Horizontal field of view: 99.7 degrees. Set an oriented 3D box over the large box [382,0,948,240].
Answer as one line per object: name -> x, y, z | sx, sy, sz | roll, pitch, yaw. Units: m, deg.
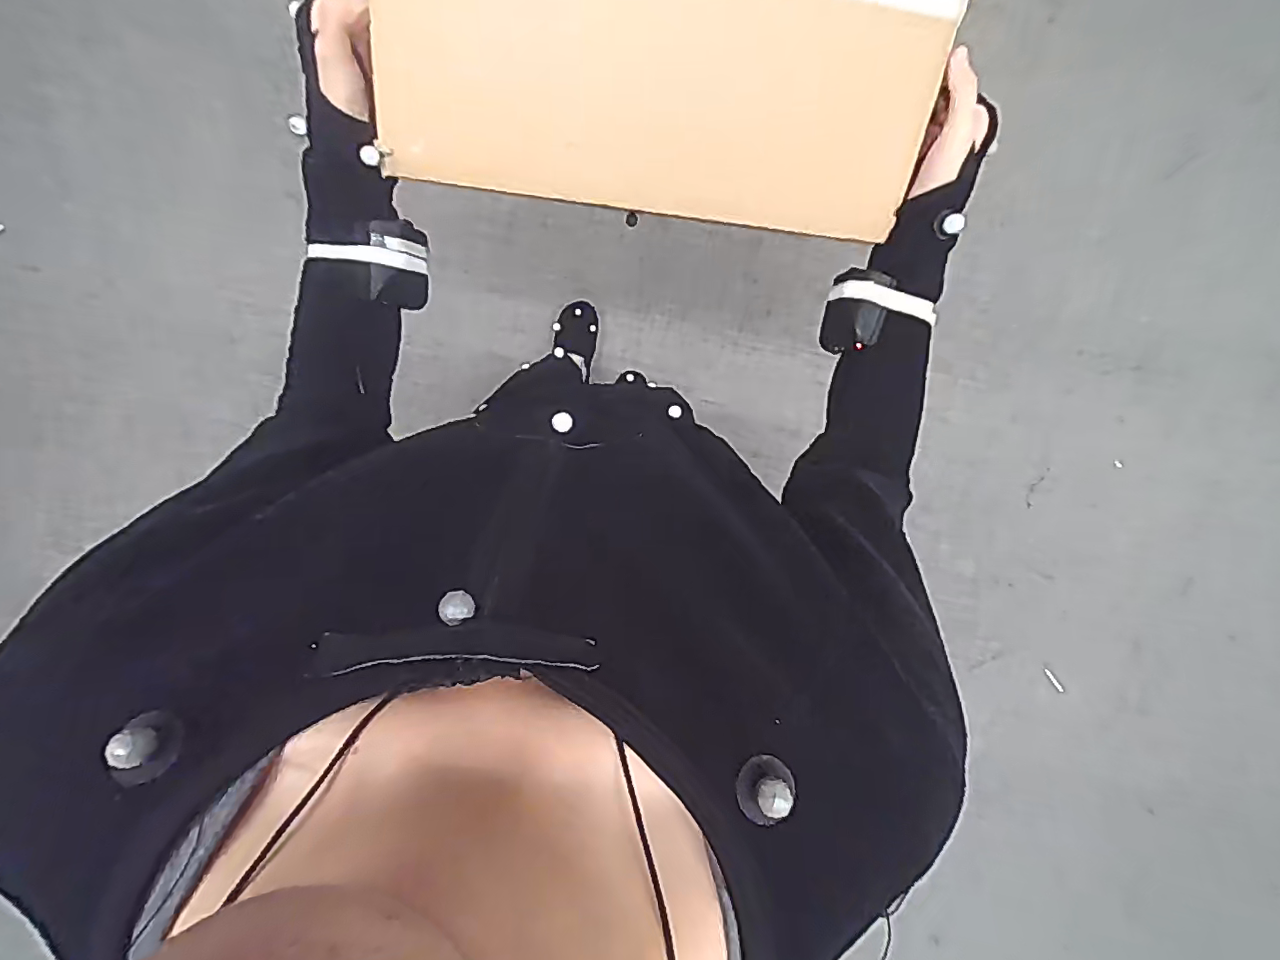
large box -> 0.015, -0.424, 0.501 | 0.408, 0.320, 0.320 | 4, 117, -8
